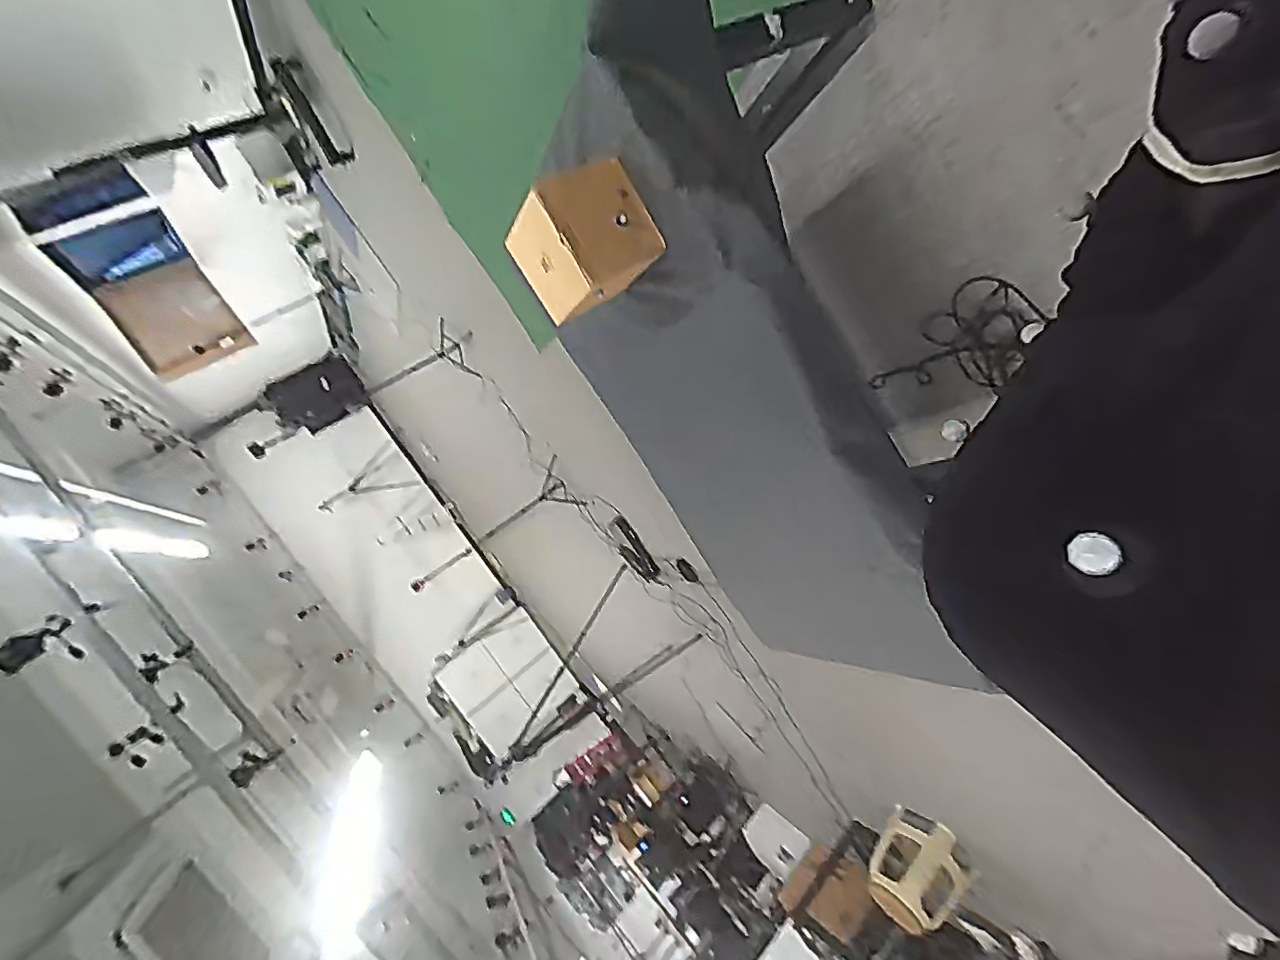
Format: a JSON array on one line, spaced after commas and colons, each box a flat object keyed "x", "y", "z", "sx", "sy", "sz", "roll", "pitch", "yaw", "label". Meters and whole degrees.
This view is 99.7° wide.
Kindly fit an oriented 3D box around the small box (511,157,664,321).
[{"x": -0.089, "y": -0.403, "z": 0.918, "sx": 0.168, "sy": 0.176, "sz": 0.179, "roll": 57, "pitch": 155, "yaw": -10, "label": "small box"}]
